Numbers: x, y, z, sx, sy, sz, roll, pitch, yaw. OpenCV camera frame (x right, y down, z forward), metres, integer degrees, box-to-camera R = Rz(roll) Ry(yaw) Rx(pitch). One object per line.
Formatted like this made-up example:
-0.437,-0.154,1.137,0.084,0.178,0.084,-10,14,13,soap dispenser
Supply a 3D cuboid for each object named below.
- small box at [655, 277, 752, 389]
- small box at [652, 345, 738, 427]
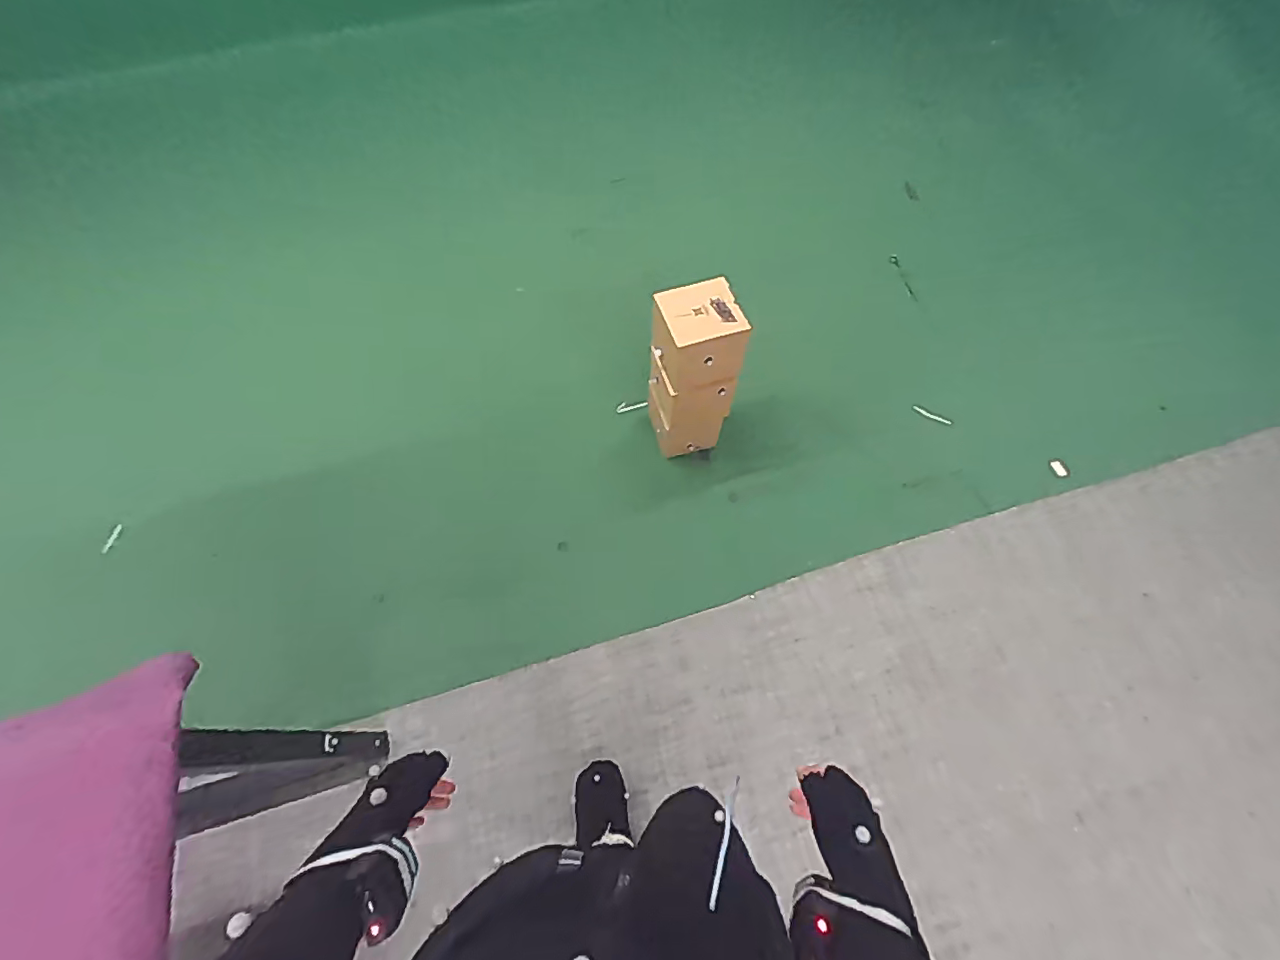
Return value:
0.141,-0.343,1.281,0.179,0.176,0.168,-17,65,-7,small box
0.138,-0.261,1.424,0.179,0.176,0.168,-15,65,-8,small box
